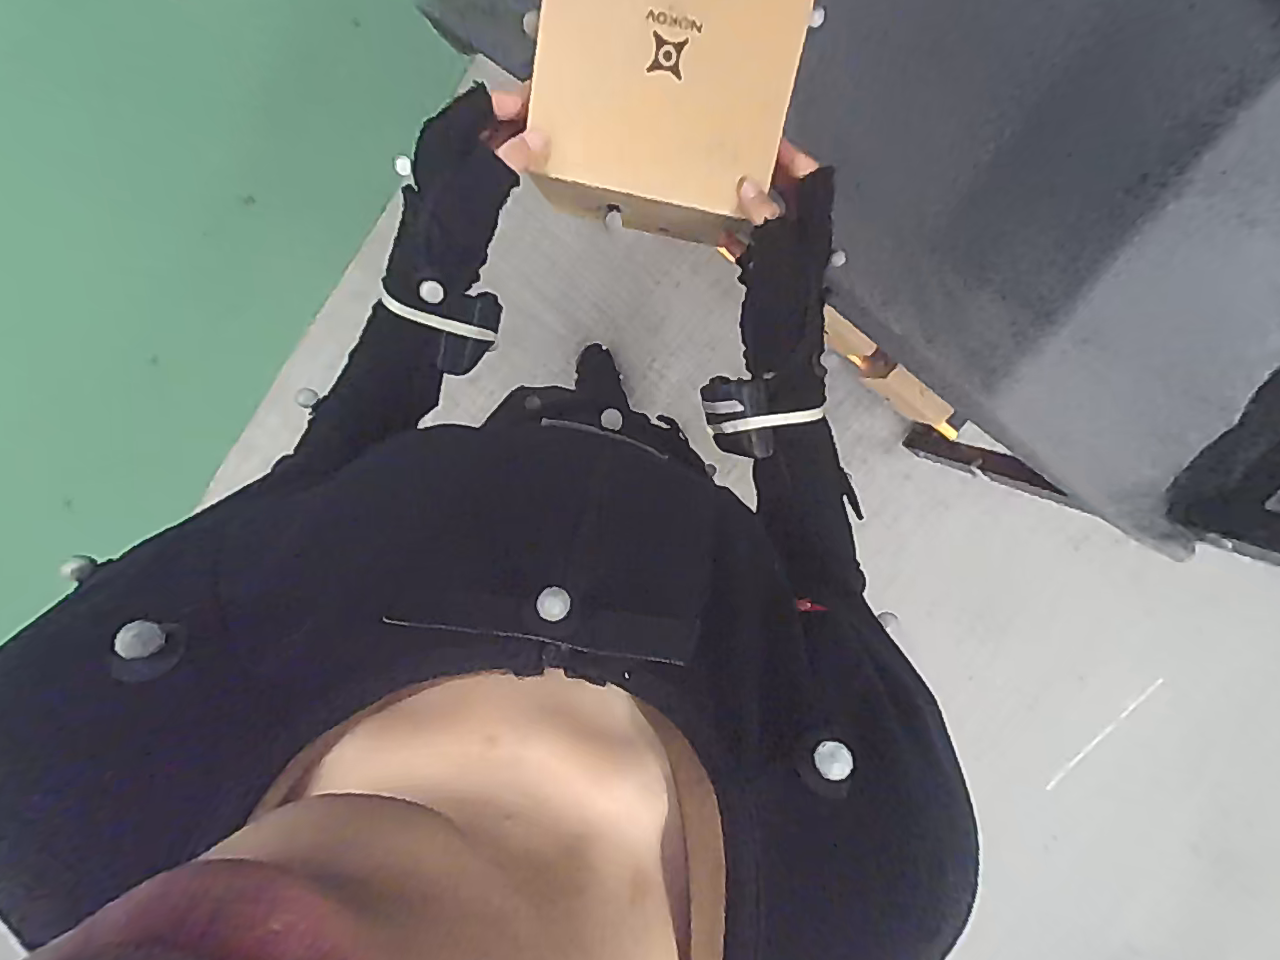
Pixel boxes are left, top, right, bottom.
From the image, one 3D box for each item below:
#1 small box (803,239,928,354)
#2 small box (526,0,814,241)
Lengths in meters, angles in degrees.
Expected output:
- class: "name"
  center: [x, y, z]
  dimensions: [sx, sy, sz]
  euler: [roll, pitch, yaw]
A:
- class: "small box"
  center: [0.487, -0.396, 1.204]
  dimensions: [0.168, 0.176, 0.179]
  euler: [36, 101, -6]
- class: "small box"
  center: [0.019, -0.296, 0.413]
  dimensions: [0.168, 0.176, 0.179]
  euler: [10, 106, -4]
